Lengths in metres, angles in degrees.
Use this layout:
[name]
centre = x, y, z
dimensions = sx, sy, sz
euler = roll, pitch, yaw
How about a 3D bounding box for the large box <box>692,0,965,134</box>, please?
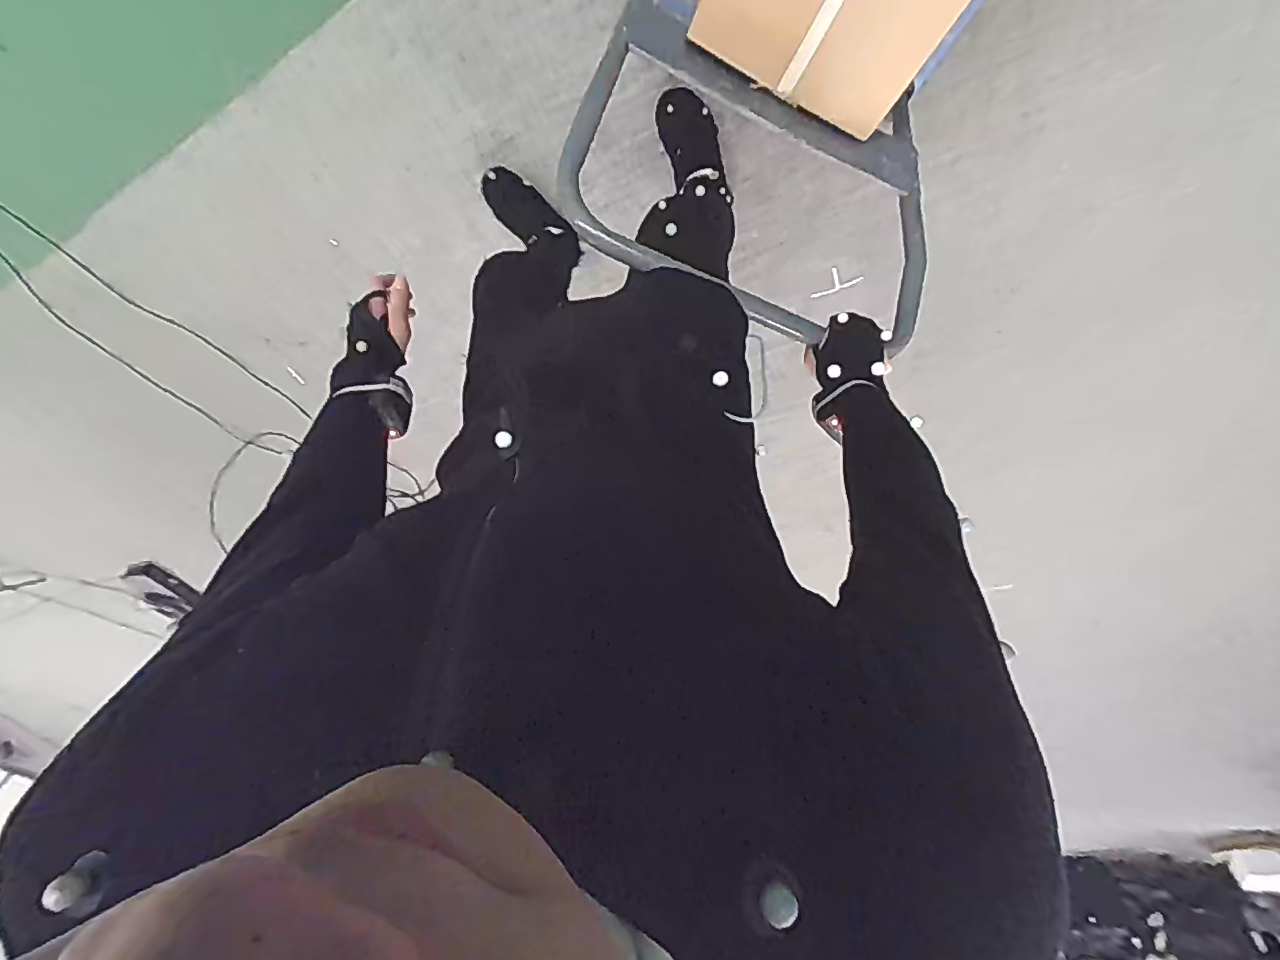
[large box]
centre = 0.306, -0.789, 0.716
dimensions = 0.320, 0.320, 0.408
euler = 20, 146, -14
